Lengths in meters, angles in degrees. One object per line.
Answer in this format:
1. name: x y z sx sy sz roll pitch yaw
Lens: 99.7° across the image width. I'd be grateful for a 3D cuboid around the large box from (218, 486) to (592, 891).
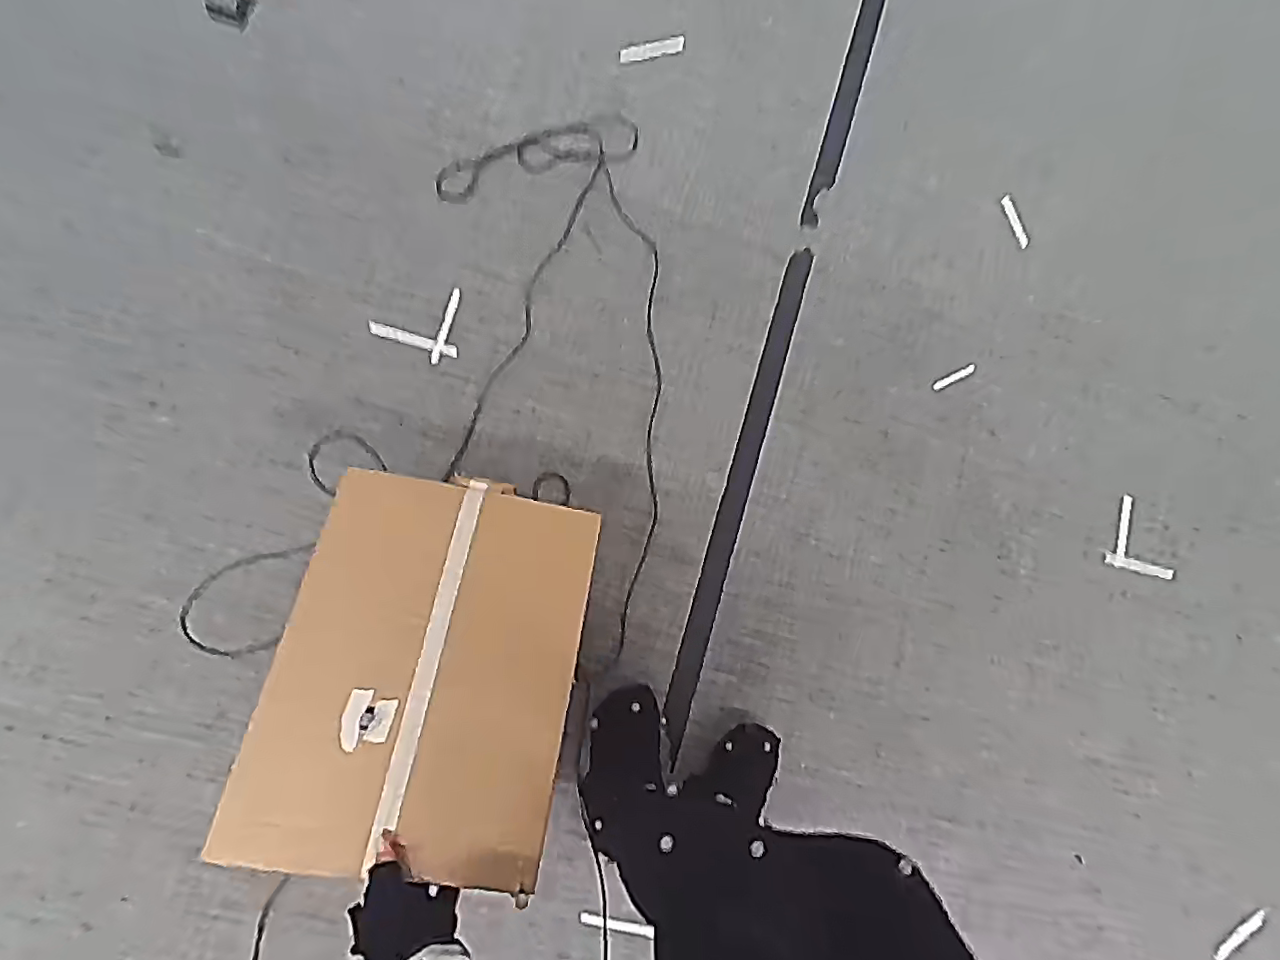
1. large box: -0.263 0.266 0.745 0.320 0.320 0.408 11 66 -7
